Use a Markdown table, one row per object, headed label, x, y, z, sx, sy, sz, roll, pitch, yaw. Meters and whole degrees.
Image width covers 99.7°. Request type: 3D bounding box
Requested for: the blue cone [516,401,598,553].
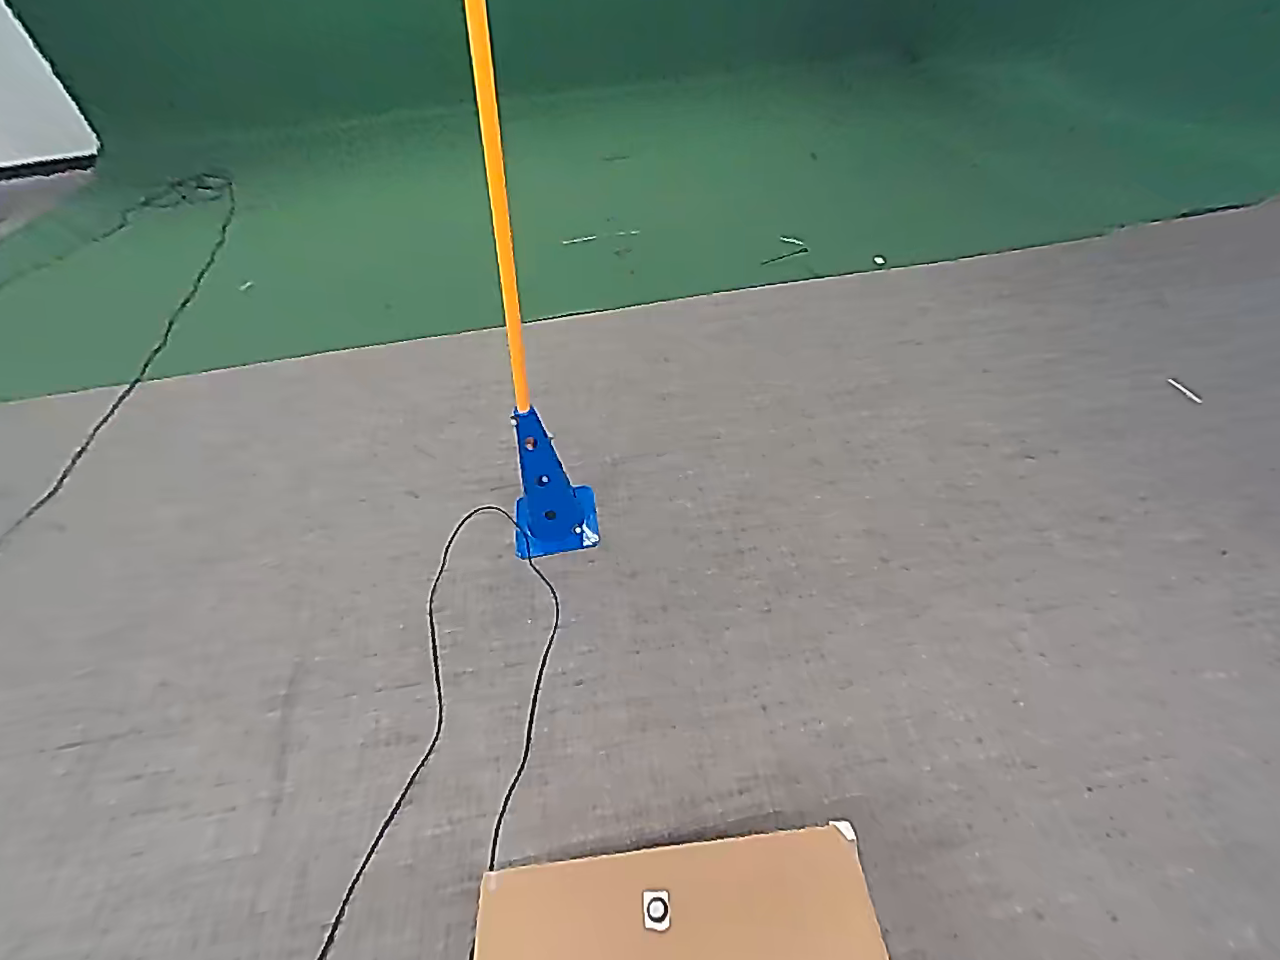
| label | x | y | z | sx | sy | sz | roll | pitch | yaw |
| --- | --- | --- | --- | --- | --- | --- | --- | --- | --- |
| blue cone | -0.214 | -0.023 | 1.203 | 0.193 | 0.380 | 0.192 | -10 | 47 | -6 |
